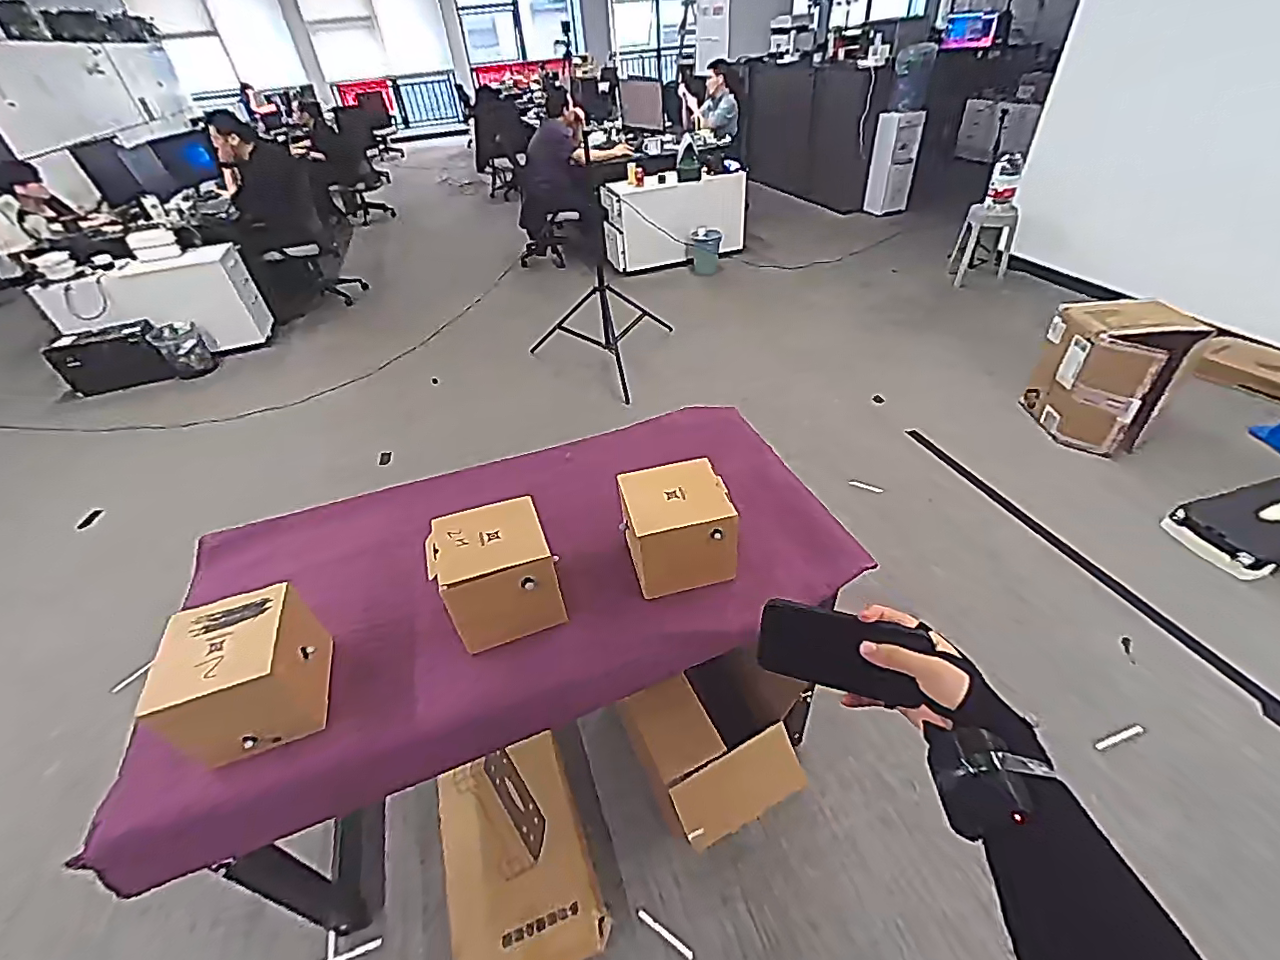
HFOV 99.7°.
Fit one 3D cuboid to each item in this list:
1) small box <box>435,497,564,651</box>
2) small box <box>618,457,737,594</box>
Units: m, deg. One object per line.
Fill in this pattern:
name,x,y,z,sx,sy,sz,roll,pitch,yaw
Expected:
small box,-0.237,0.161,0.933,0.179,0.176,0.168,-17,39,-13
small box,0.068,0.086,0.989,0.179,0.176,0.168,-12,40,-8
